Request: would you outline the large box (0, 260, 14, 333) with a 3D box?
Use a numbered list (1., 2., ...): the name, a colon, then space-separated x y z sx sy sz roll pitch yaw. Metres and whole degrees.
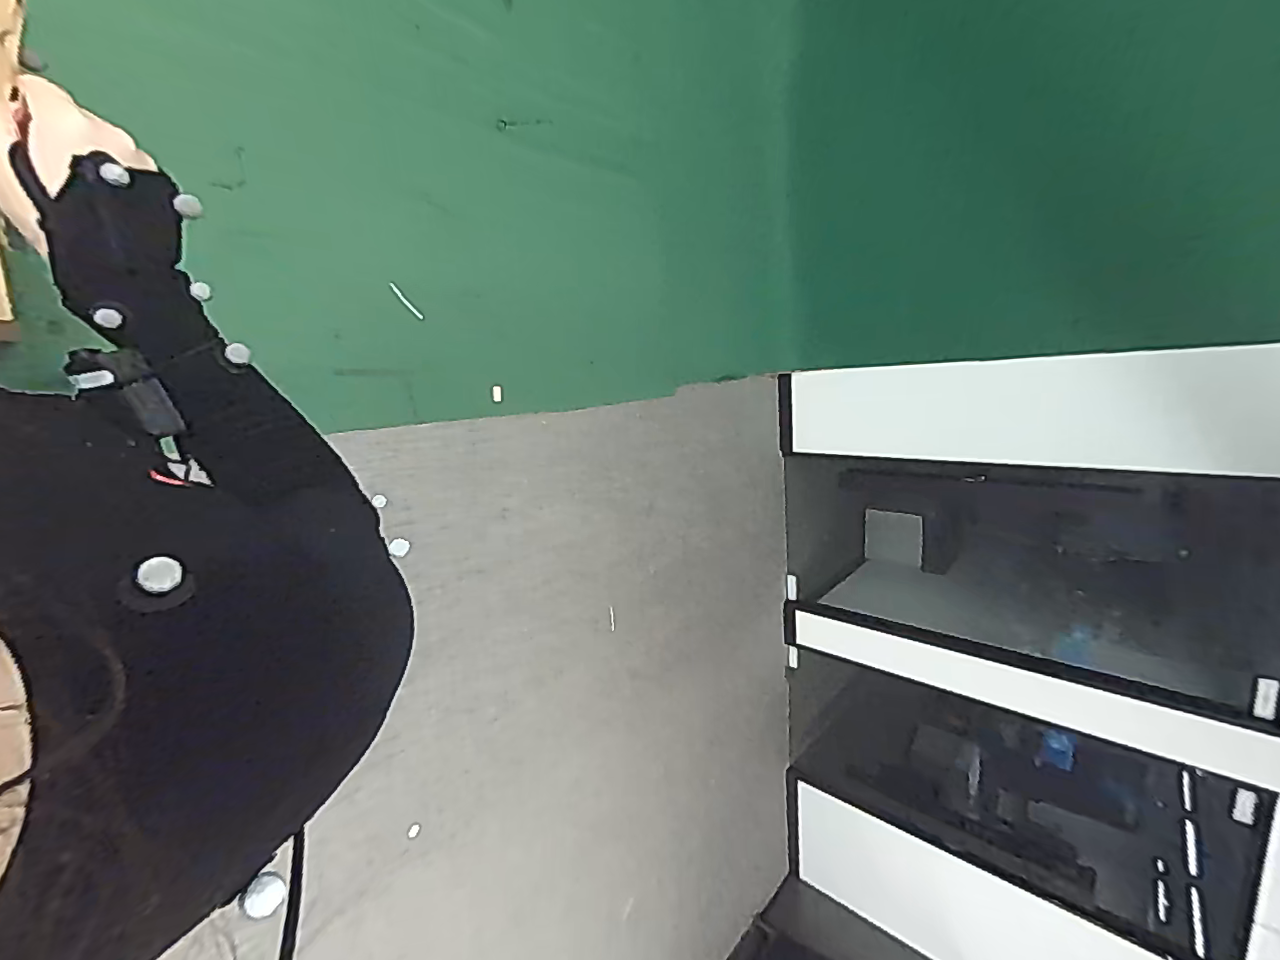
1. large box: -1.176 -0.372 0.720 0.408 0.320 0.320 -13 105 -47
